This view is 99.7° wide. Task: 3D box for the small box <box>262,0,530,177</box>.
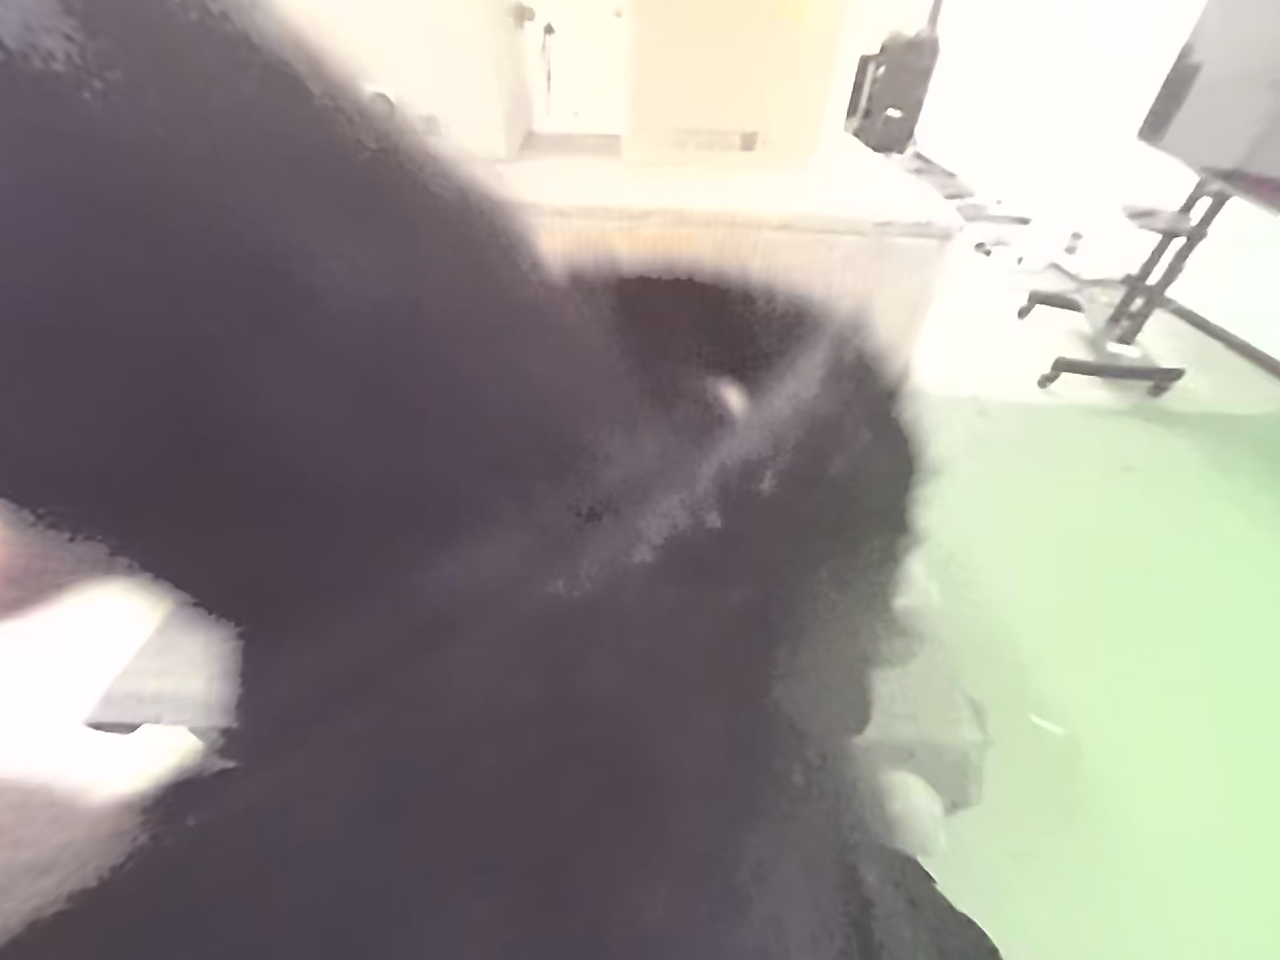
[{"bbox_3d":[-0.194,-0.374,0.459,0.168,0.176,0.179,-2,44,0],"label":"small box"}]
